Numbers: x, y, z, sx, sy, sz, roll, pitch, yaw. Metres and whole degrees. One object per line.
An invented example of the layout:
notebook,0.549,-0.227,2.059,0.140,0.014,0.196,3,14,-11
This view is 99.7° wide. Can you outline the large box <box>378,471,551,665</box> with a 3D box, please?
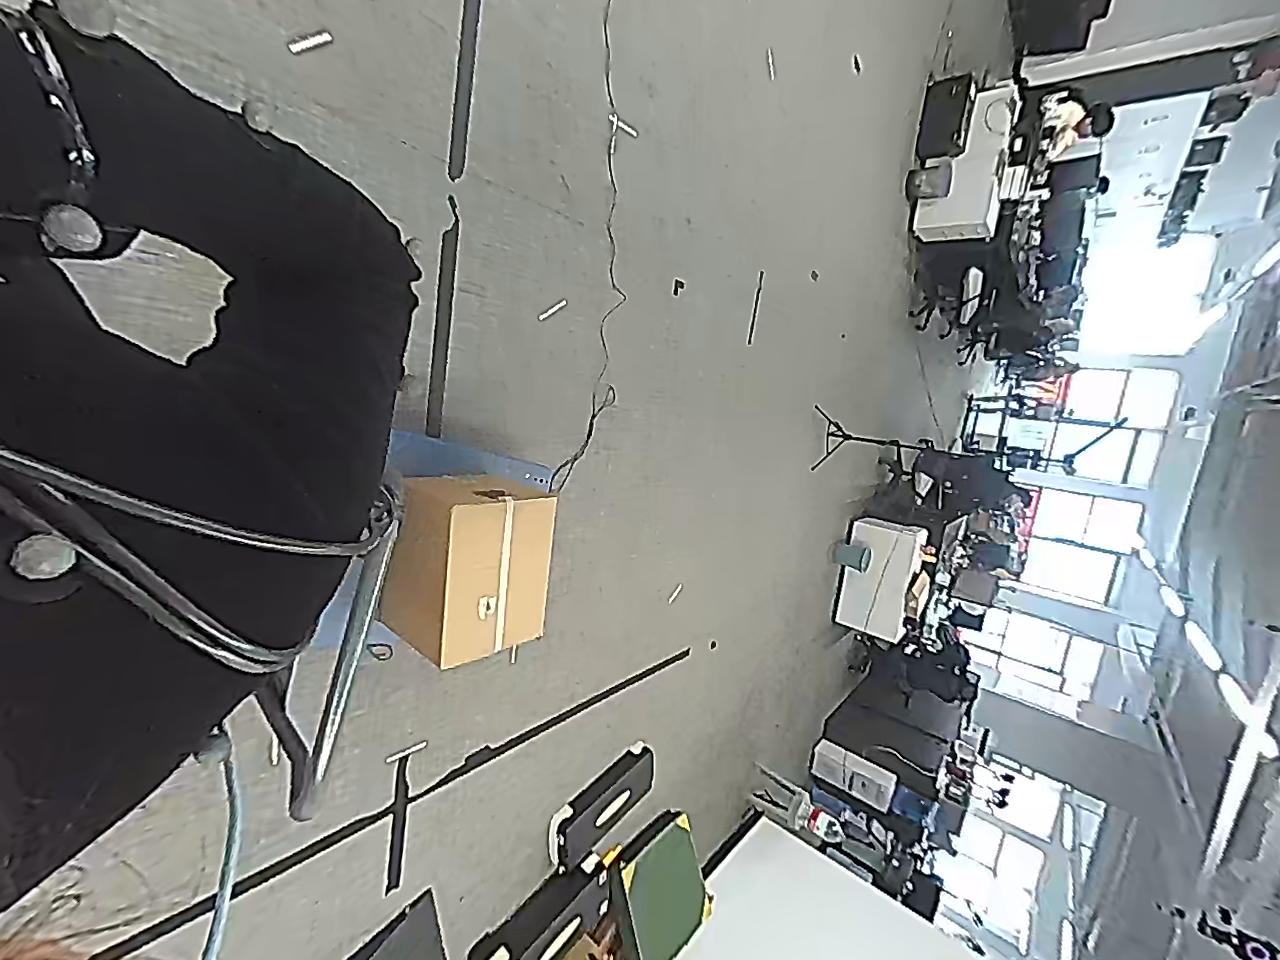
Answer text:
large box,-0.470,0.205,1.438,0.320,0.320,0.408,-3,105,-50
